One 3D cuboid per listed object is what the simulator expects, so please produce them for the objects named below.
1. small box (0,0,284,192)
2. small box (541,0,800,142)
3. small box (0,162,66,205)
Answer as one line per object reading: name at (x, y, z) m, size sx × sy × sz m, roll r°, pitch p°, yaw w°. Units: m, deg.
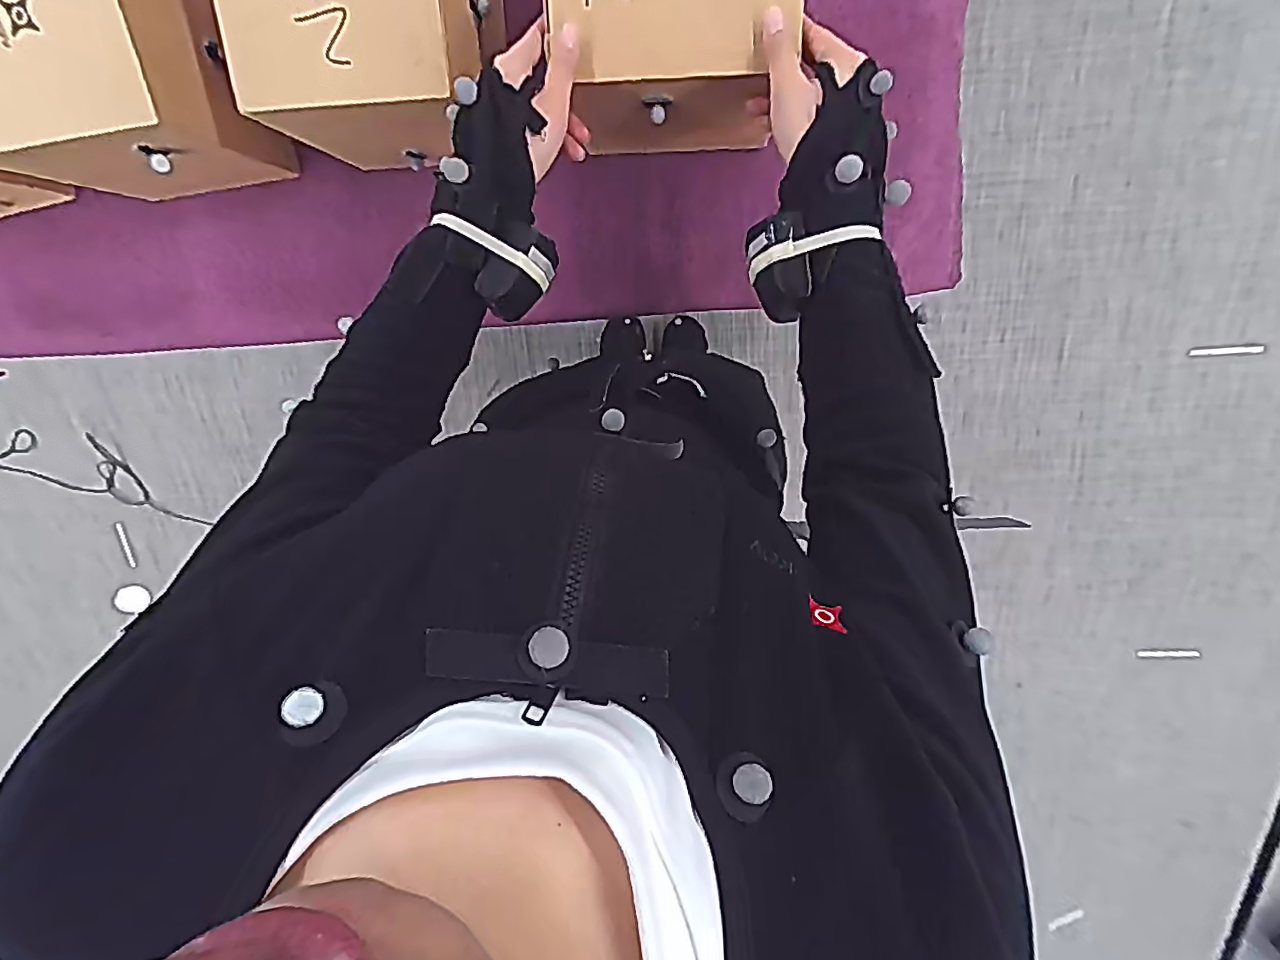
small box at (-0.450, -0.365, 0.468) m, size 0.179 × 0.176 × 0.168 m, roll -6°, pitch 106°, yaw 6°
small box at (0.026, -0.383, 0.425) m, size 0.179 × 0.176 × 0.168 m, roll 1°, pitch 107°, yaw 3°
small box at (-0.706, -0.353, 0.492) m, size 0.168 × 0.176 × 0.179 m, roll -9°, pitch 106°, yaw 7°
